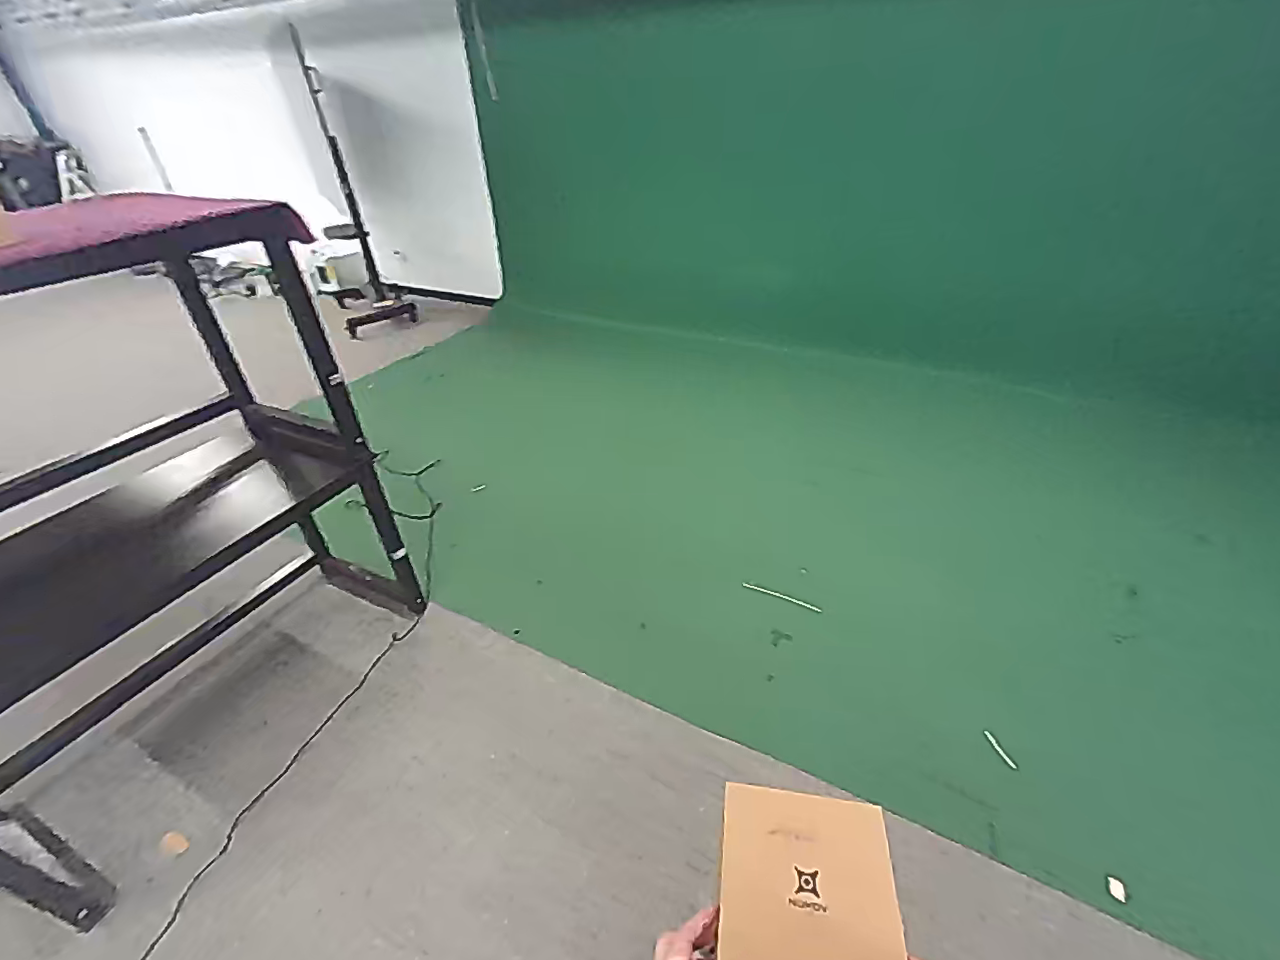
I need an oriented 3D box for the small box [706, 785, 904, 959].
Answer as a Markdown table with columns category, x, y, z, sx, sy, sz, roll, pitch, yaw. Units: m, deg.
| category | x | y | z | sx | sy | sz | roll | pitch | yaw |
| --- | --- | --- | --- | --- | --- | --- | --- | --- | --- |
| small box | 0.157 | 0.453 | 0.552 | 0.168 | 0.176 | 0.179 | 5 | 35 | 9 |
